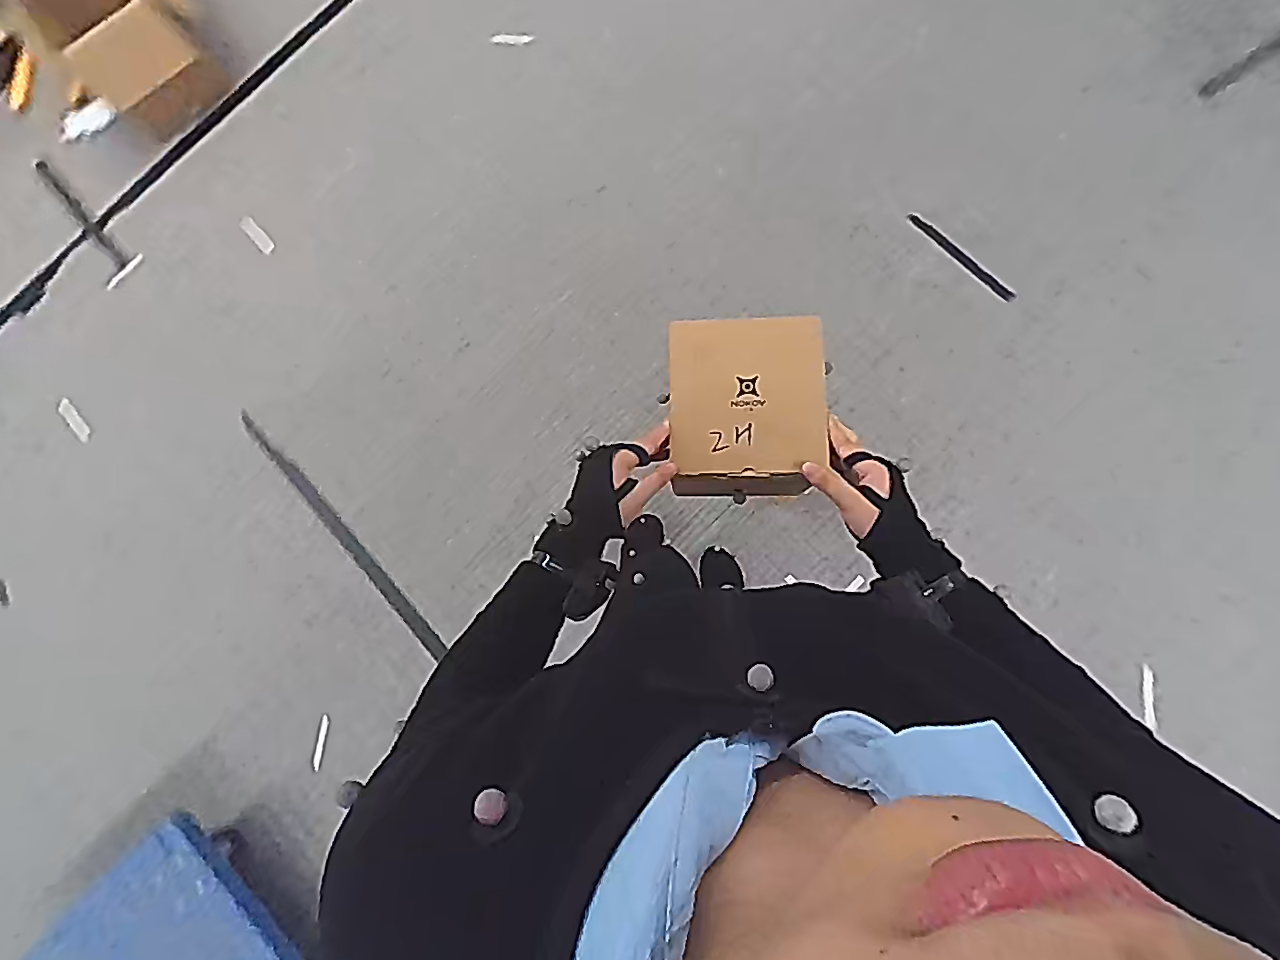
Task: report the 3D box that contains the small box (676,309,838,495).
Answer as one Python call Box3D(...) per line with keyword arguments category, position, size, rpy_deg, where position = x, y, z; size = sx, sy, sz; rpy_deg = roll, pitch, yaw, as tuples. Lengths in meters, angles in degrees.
Box3D(category="small box", position=(0.126, -0.081, 0.642), size=(0.168, 0.176, 0.179), rpy_deg=(-2, 81, 6))

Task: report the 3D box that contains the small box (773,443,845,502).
Box3D(category="small box", position=(0.398, -0.059, 1.423), size=(0.179, 0.176, 0.168), rpy_deg=(-45, 83, -1))
